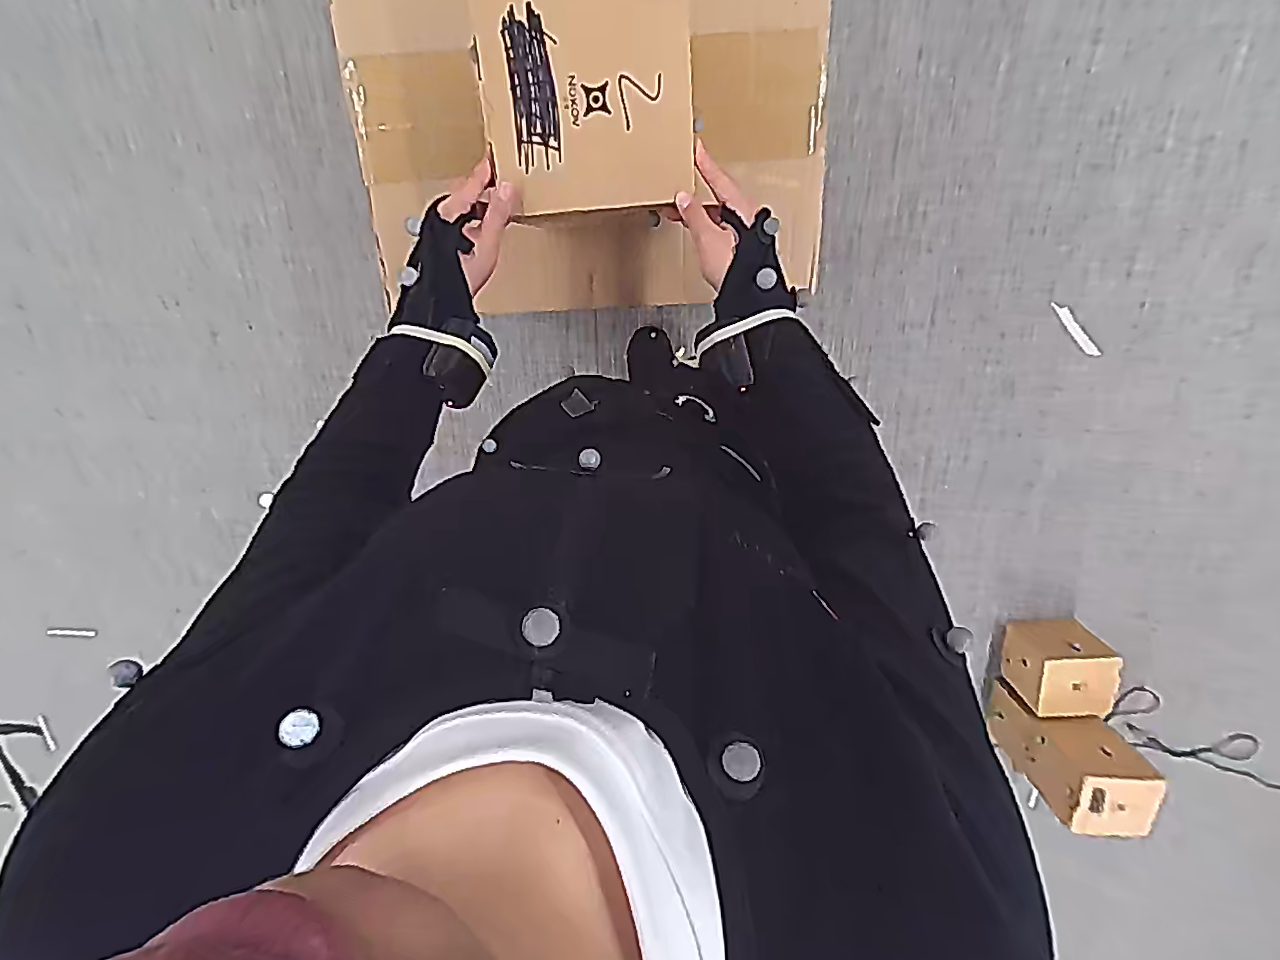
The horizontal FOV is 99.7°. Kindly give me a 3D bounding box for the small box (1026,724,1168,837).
[{"bbox_3d":[1.057,0.698,1.270,0.179,0.176,0.168,1,108,2],"label":"small box"}]
